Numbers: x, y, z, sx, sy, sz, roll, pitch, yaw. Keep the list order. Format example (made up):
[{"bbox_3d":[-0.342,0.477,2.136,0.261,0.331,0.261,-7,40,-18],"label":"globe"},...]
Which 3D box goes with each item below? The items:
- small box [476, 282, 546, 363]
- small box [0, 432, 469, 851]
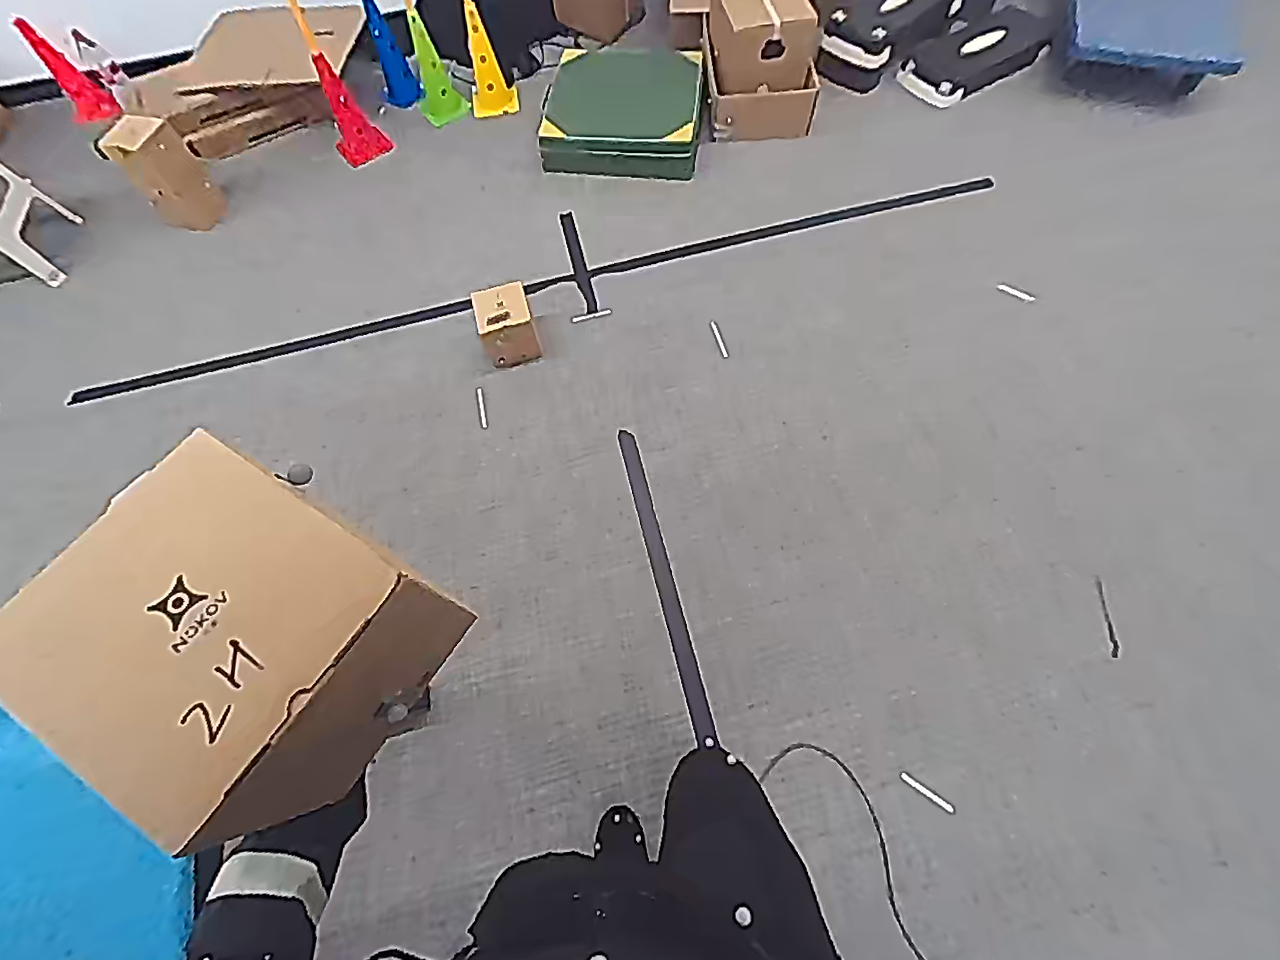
[{"bbox_3d":[-0.413,-0.500,1.750,0.168,0.176,0.179,-16,64,-4],"label":"small box"},{"bbox_3d":[-0.253,0.104,0.379,0.179,0.176,0.168,36,73,9],"label":"small box"}]
